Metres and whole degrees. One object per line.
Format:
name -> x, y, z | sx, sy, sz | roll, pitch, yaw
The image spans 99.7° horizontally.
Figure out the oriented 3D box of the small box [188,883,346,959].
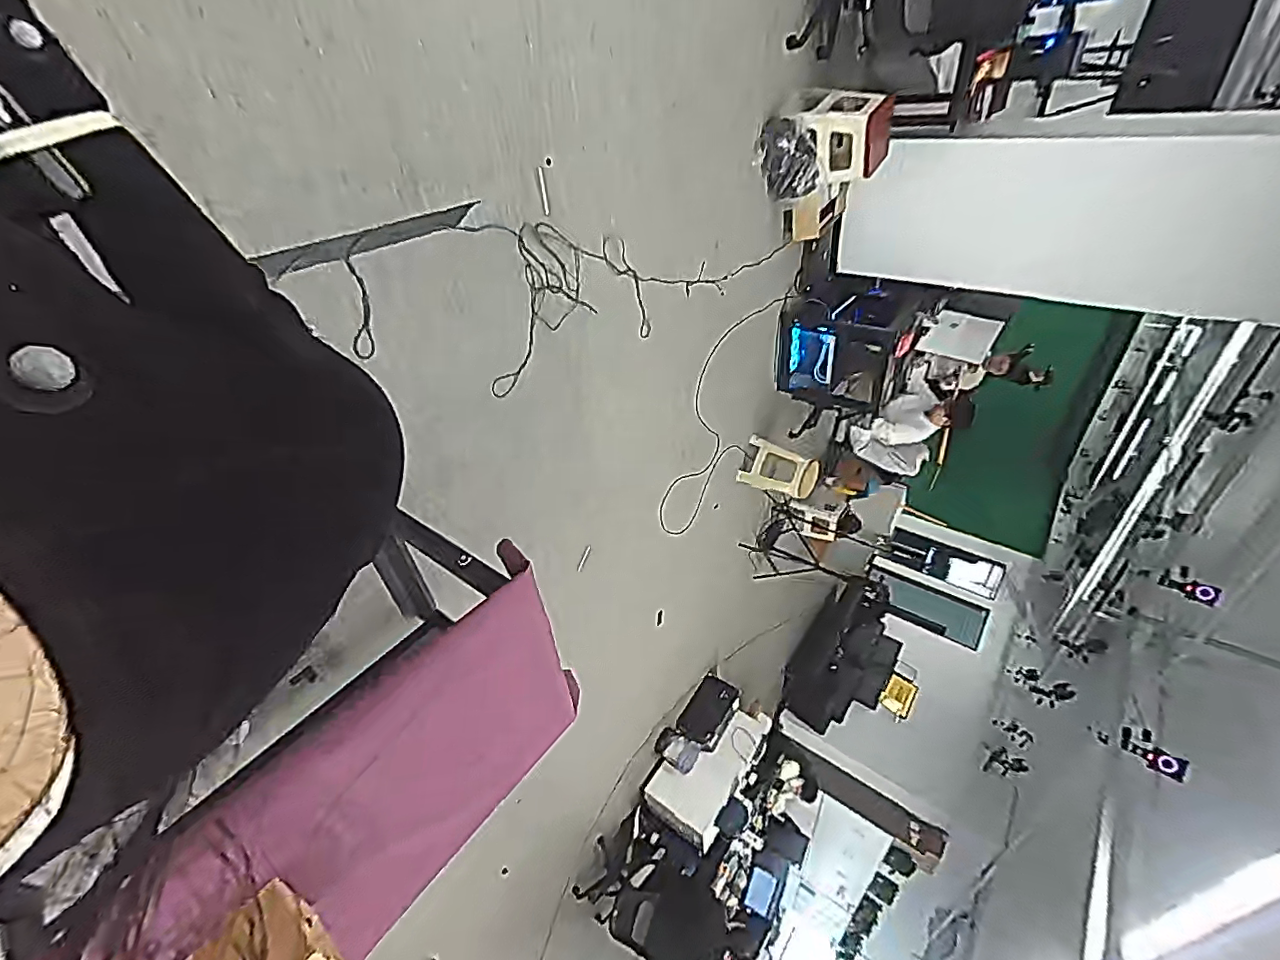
small box -> -0.619, 0.826, 0.893 | 0.179, 0.176, 0.168 | -38, 137, -37
